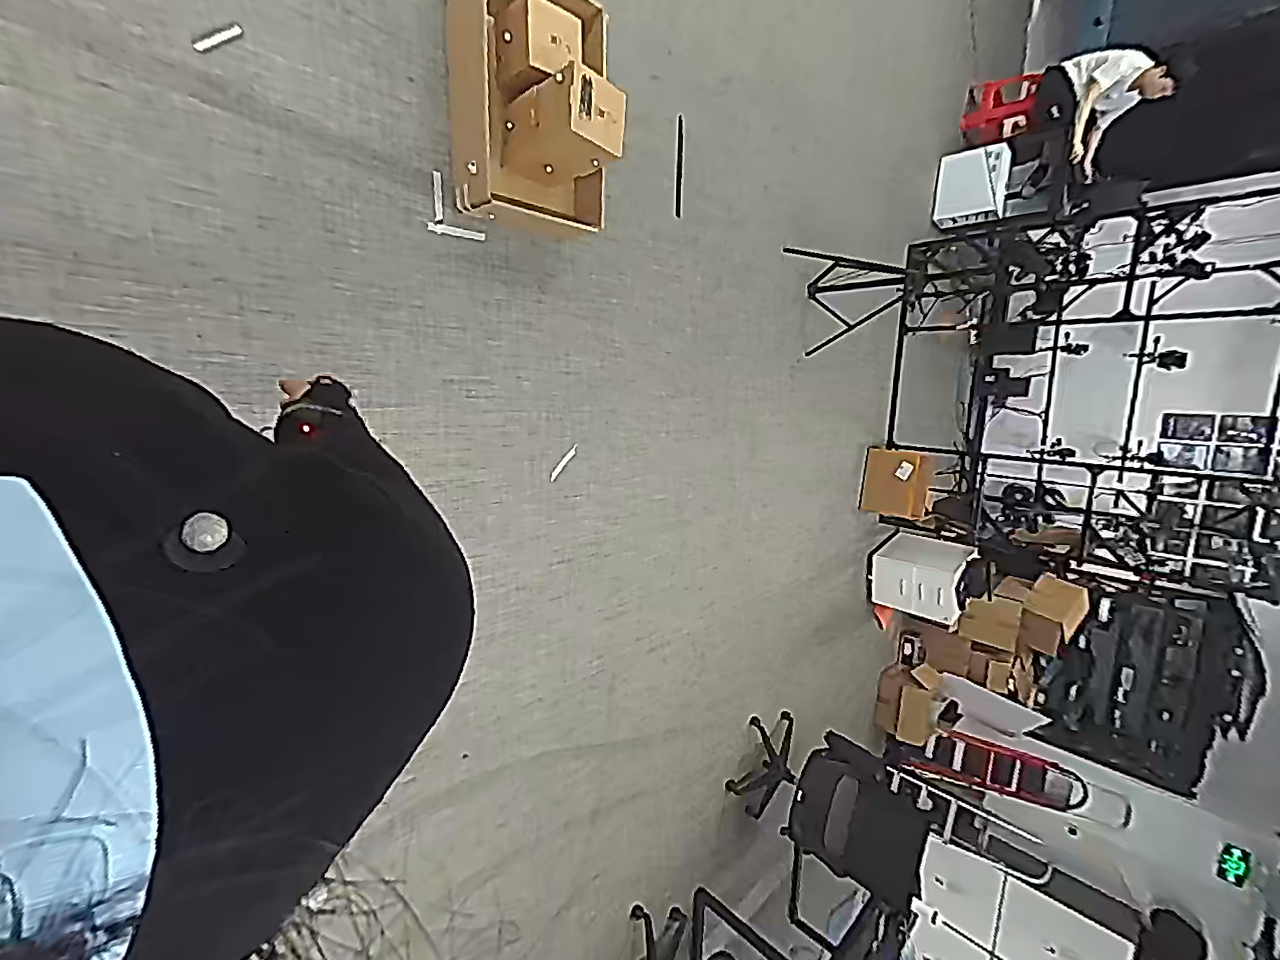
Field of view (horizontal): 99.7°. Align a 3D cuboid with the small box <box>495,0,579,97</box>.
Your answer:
[{"bbox_3d":[-0.286,-1.179,1.489,0.179,0.176,0.168,-10,107,-44],"label":"small box"}]

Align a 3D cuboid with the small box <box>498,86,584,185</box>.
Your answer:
[{"bbox_3d":[-0.283,-0.969,1.544,0.179,0.176,0.168,-2,98,-45],"label":"small box"}]
